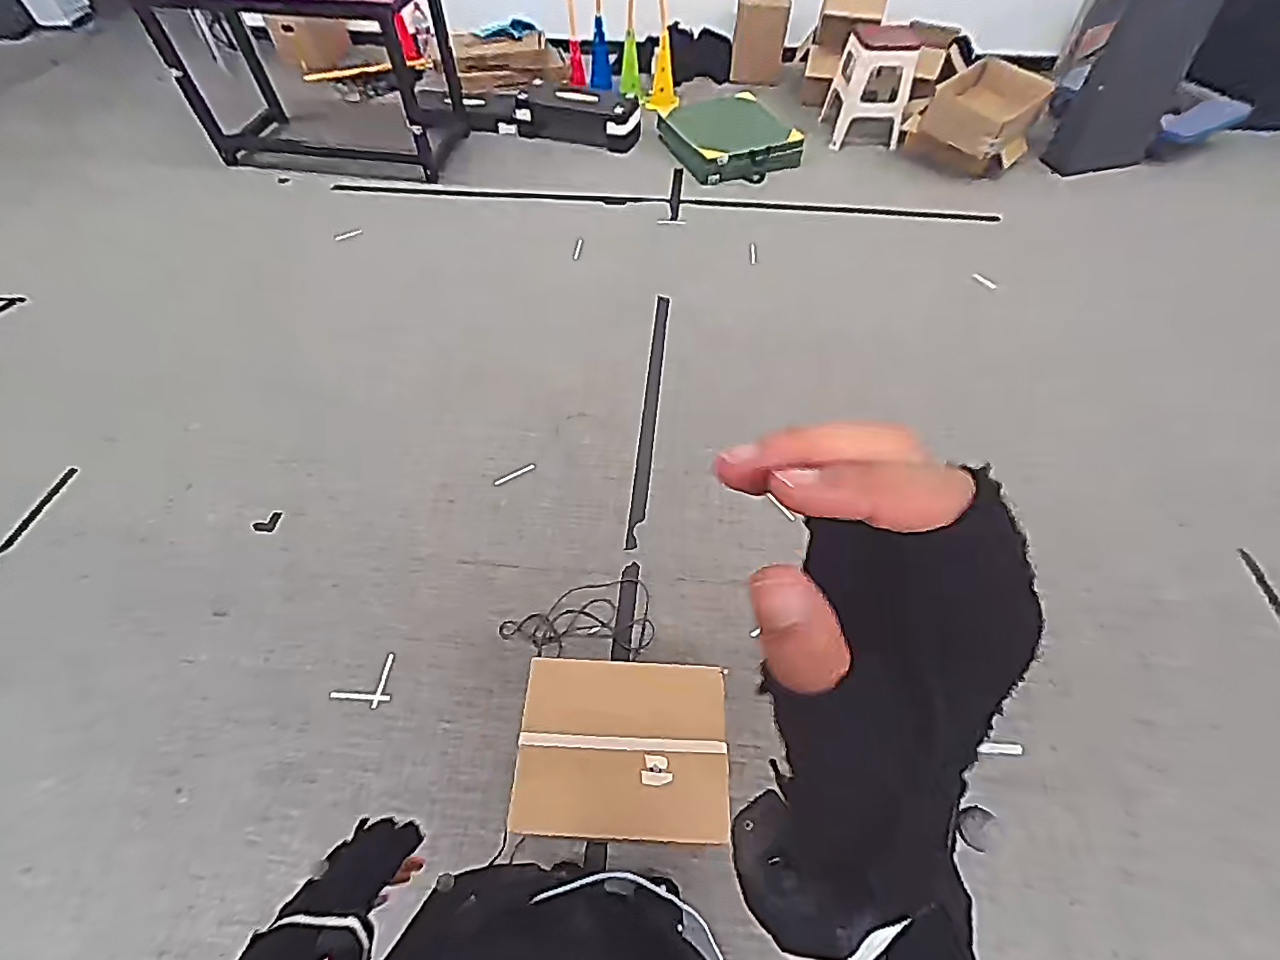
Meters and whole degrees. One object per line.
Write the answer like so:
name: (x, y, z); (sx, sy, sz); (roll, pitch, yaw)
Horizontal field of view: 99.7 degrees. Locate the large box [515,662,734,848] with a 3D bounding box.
large box: (-0.029, 0.606, 1.177); (0.408, 0.320, 0.320); (4, 56, 0)
